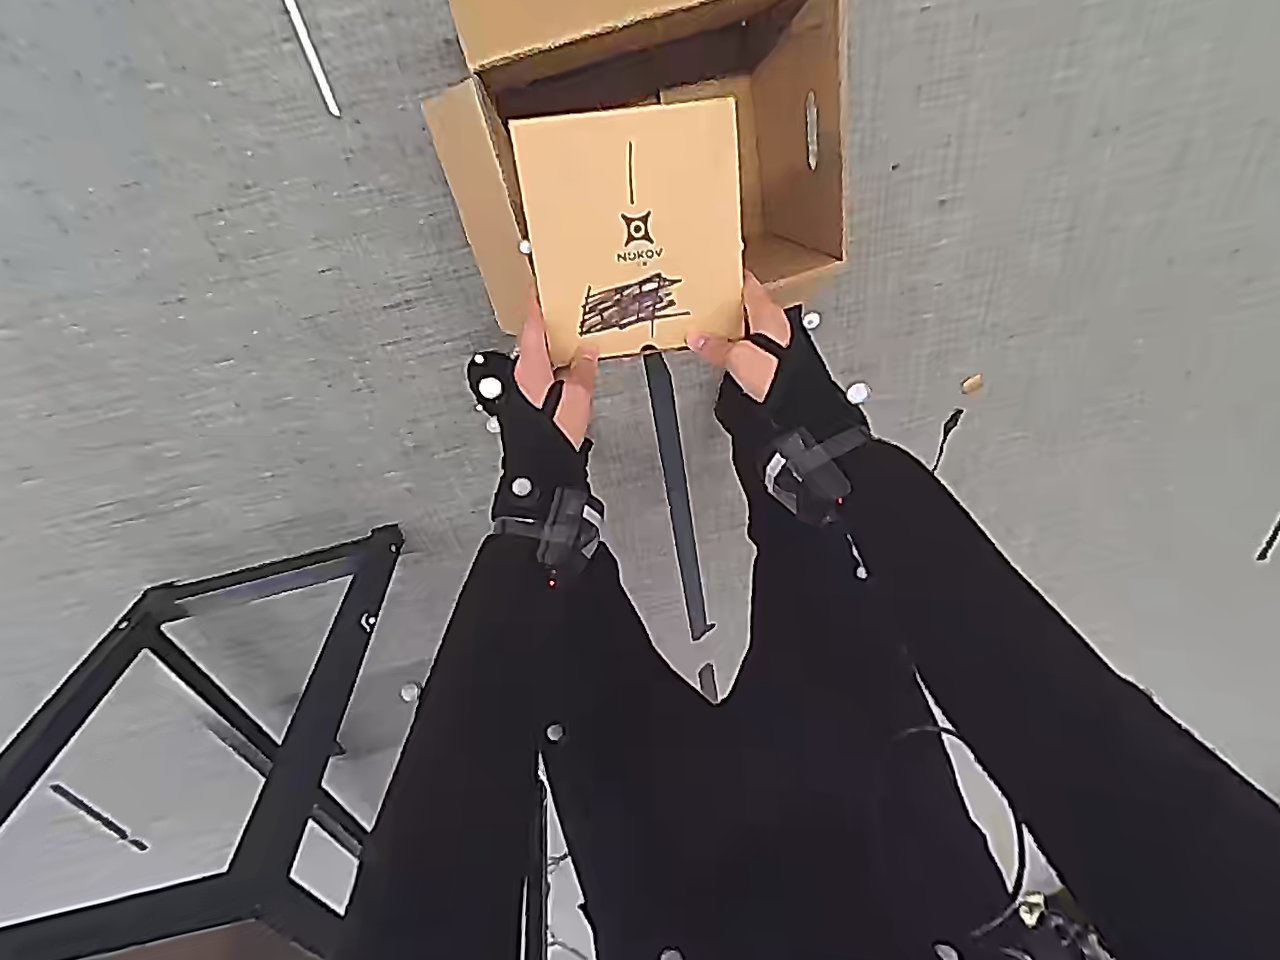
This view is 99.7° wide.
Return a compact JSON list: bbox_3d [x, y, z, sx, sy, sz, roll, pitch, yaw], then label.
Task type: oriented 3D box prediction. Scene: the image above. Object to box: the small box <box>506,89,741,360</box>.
[{"bbox_3d":[-0.012,-0.217,0.485,0.168,0.176,0.179,-9,112,-3],"label":"small box"}]
